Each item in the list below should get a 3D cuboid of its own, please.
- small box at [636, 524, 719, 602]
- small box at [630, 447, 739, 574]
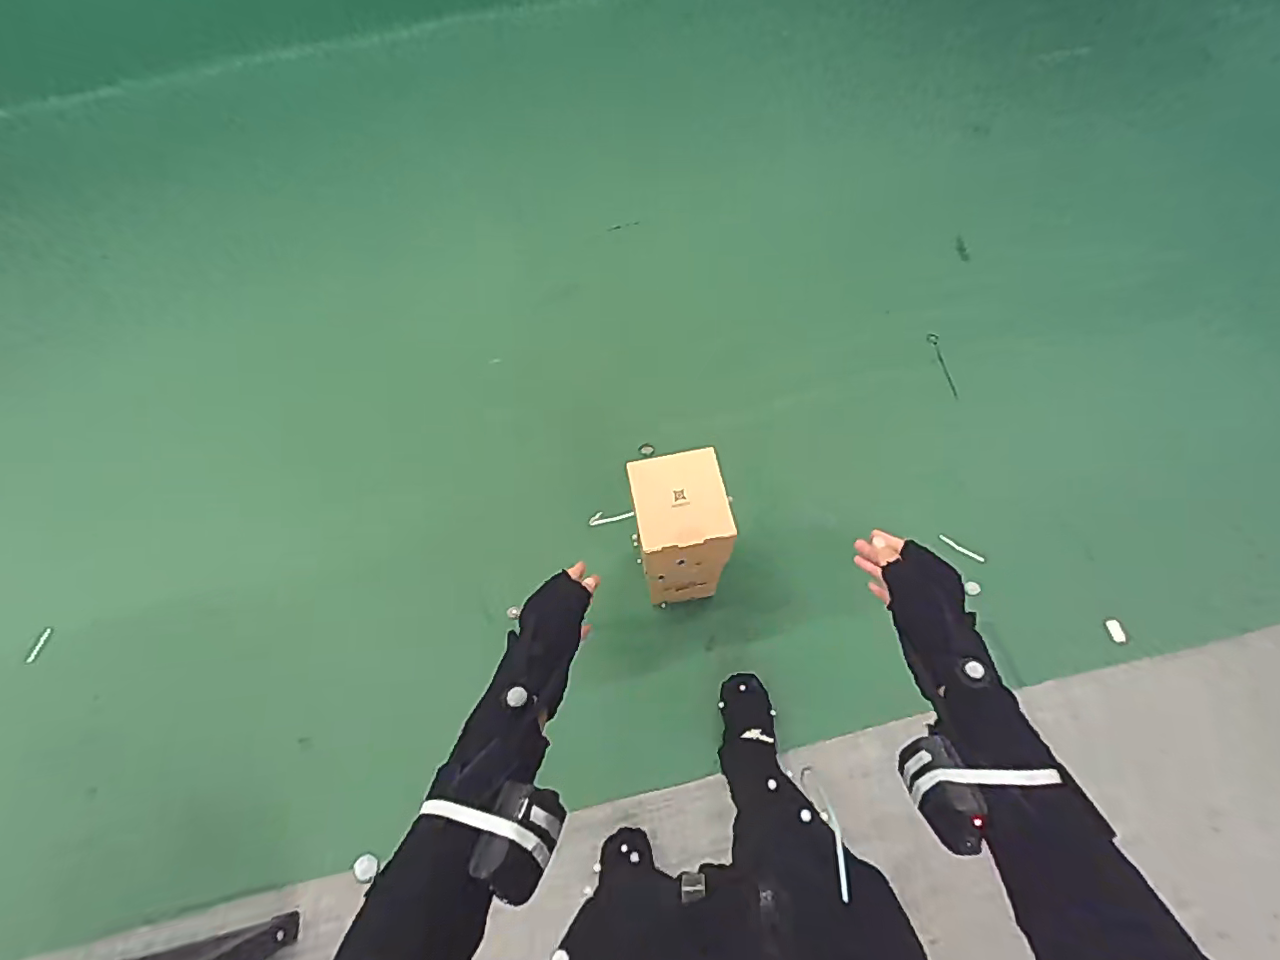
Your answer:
[{"bbox_3d":[0.089,0.195,1.328,0.168,0.176,0.179,-12,68,-2],"label":"small box"},{"bbox_3d":[0.076,0.062,1.028,0.168,0.176,0.179,-11,67,-3],"label":"small box"}]
